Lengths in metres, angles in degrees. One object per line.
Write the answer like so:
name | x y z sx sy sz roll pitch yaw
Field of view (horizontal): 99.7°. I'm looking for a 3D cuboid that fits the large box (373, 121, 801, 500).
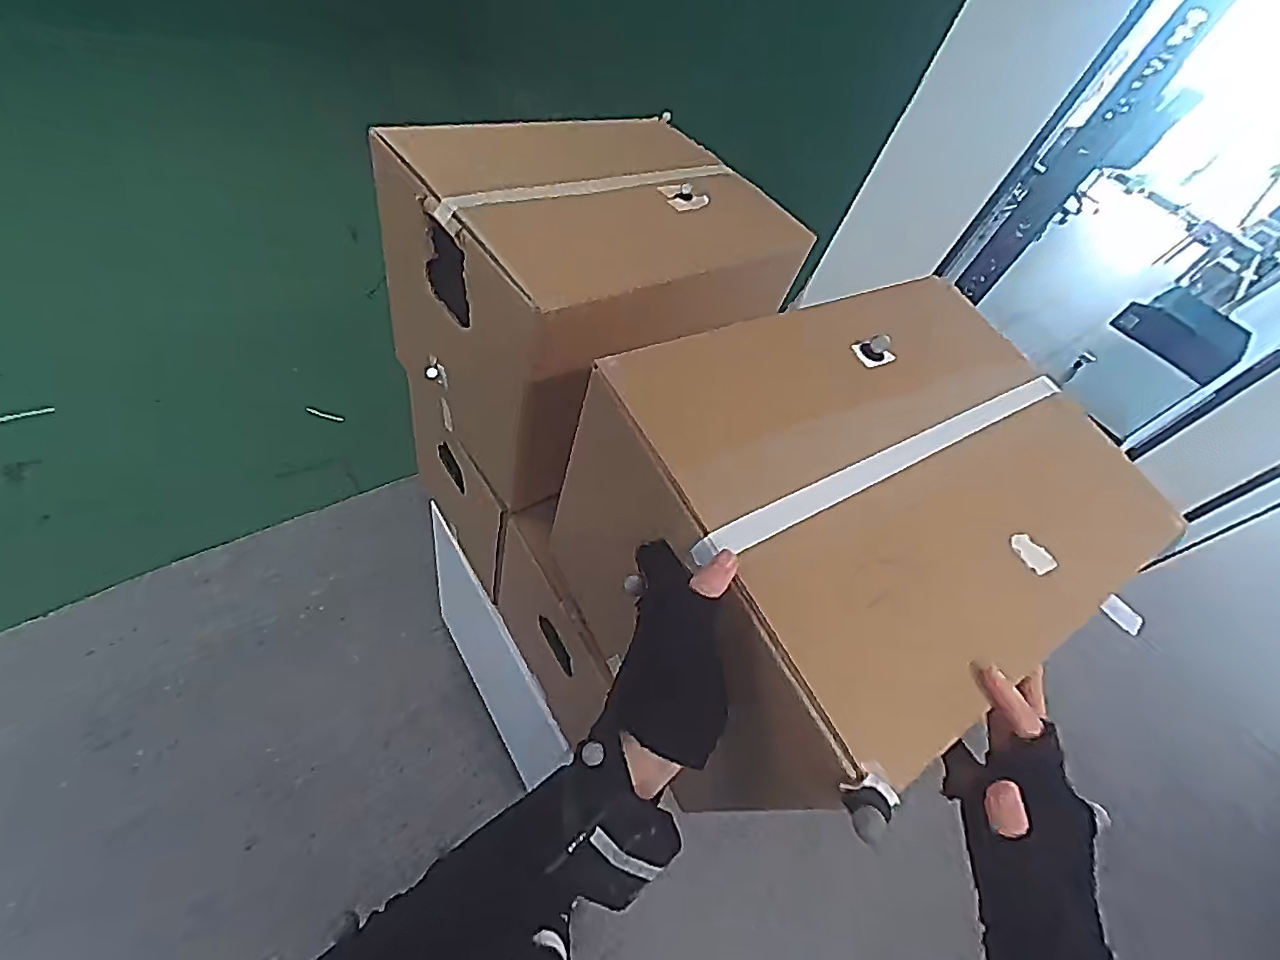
large box | -0.075 -0.239 0.722 0.408 0.320 0.320 -28 66 -34
